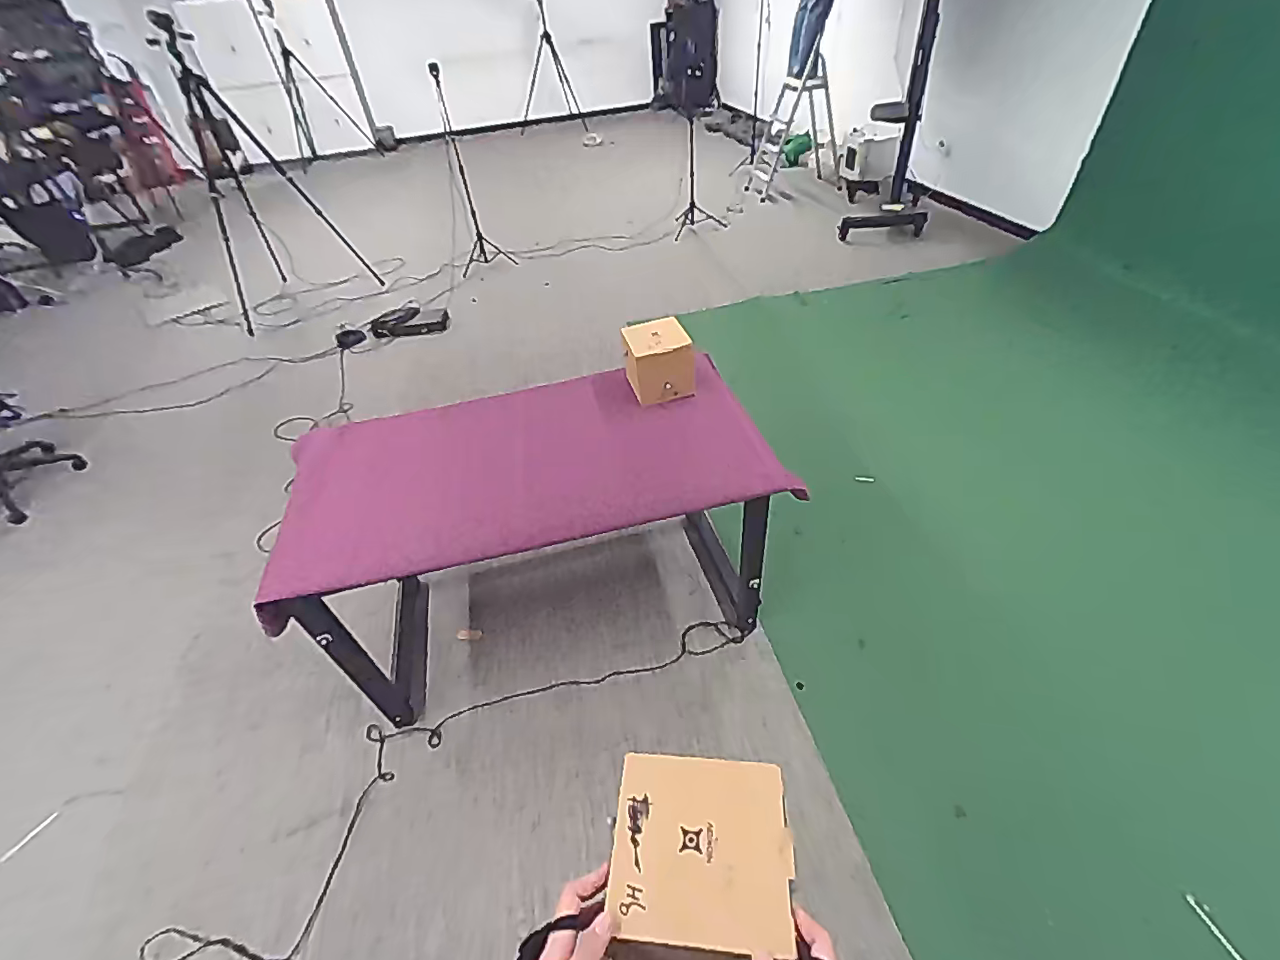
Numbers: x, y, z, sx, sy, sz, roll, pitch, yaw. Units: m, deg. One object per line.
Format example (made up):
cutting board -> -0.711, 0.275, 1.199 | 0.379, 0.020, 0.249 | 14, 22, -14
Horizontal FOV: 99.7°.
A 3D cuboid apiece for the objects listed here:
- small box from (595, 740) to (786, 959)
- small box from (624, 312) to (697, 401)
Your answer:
small box -> 0.060, 0.418, 0.600 | 0.179, 0.176, 0.168 | 1, 38, 9
small box -> 0.060, -0.357, 1.563 | 0.168, 0.176, 0.179 | -16, 45, -5
